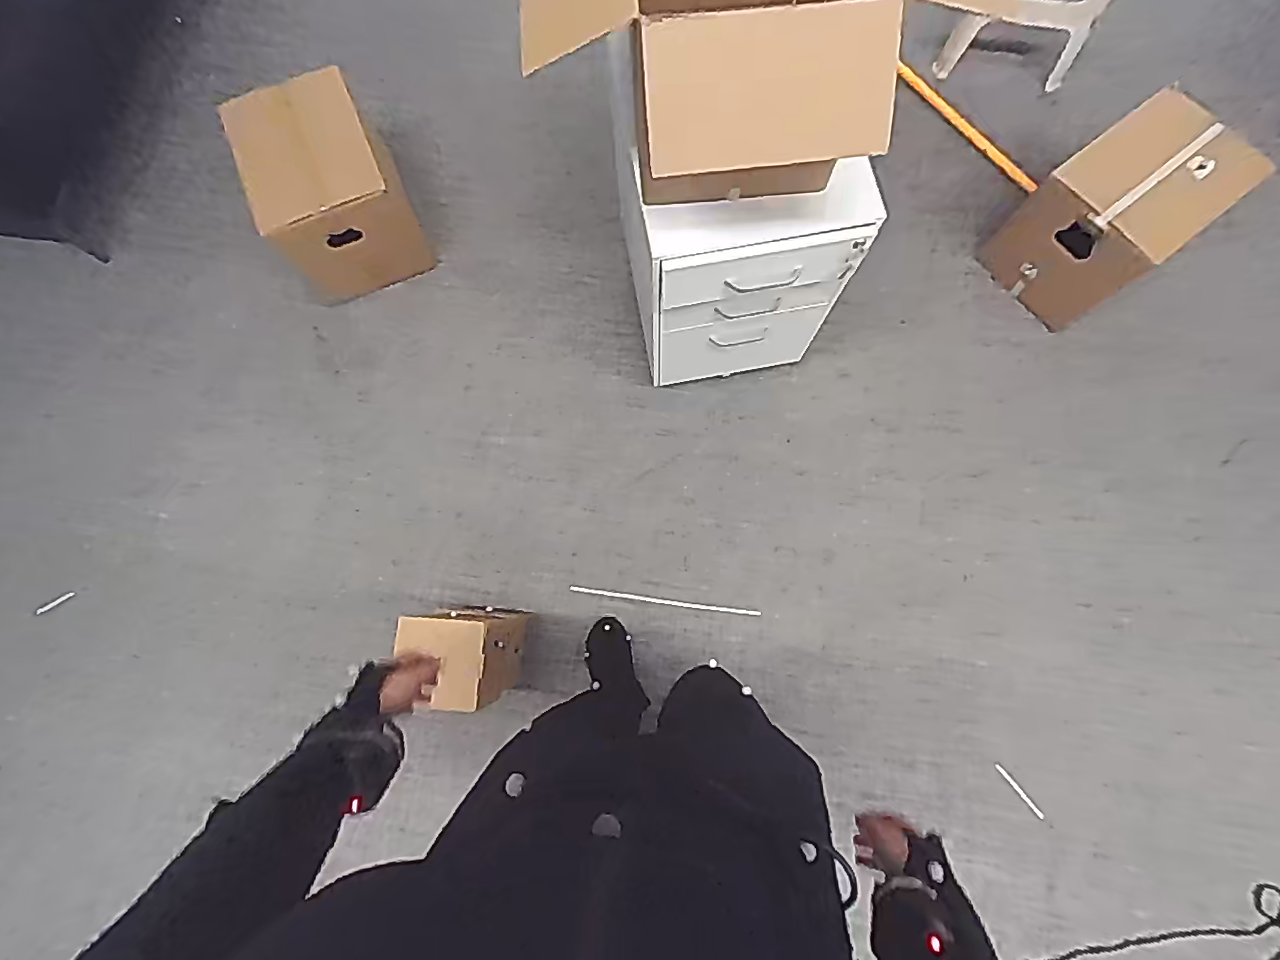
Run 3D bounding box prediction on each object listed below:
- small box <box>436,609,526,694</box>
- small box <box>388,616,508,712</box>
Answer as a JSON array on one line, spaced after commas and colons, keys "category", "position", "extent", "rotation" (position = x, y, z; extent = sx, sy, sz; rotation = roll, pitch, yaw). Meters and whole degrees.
[{"category": "small box", "position": [-0.377, 0.395, 1.272], "extent": [0.179, 0.176, 0.168], "rotation": [5, 77, 3]}, {"category": "small box", "position": [-0.382, 0.369, 1.111], "extent": [0.179, 0.176, 0.168], "rotation": [2, 76, 4]}]
